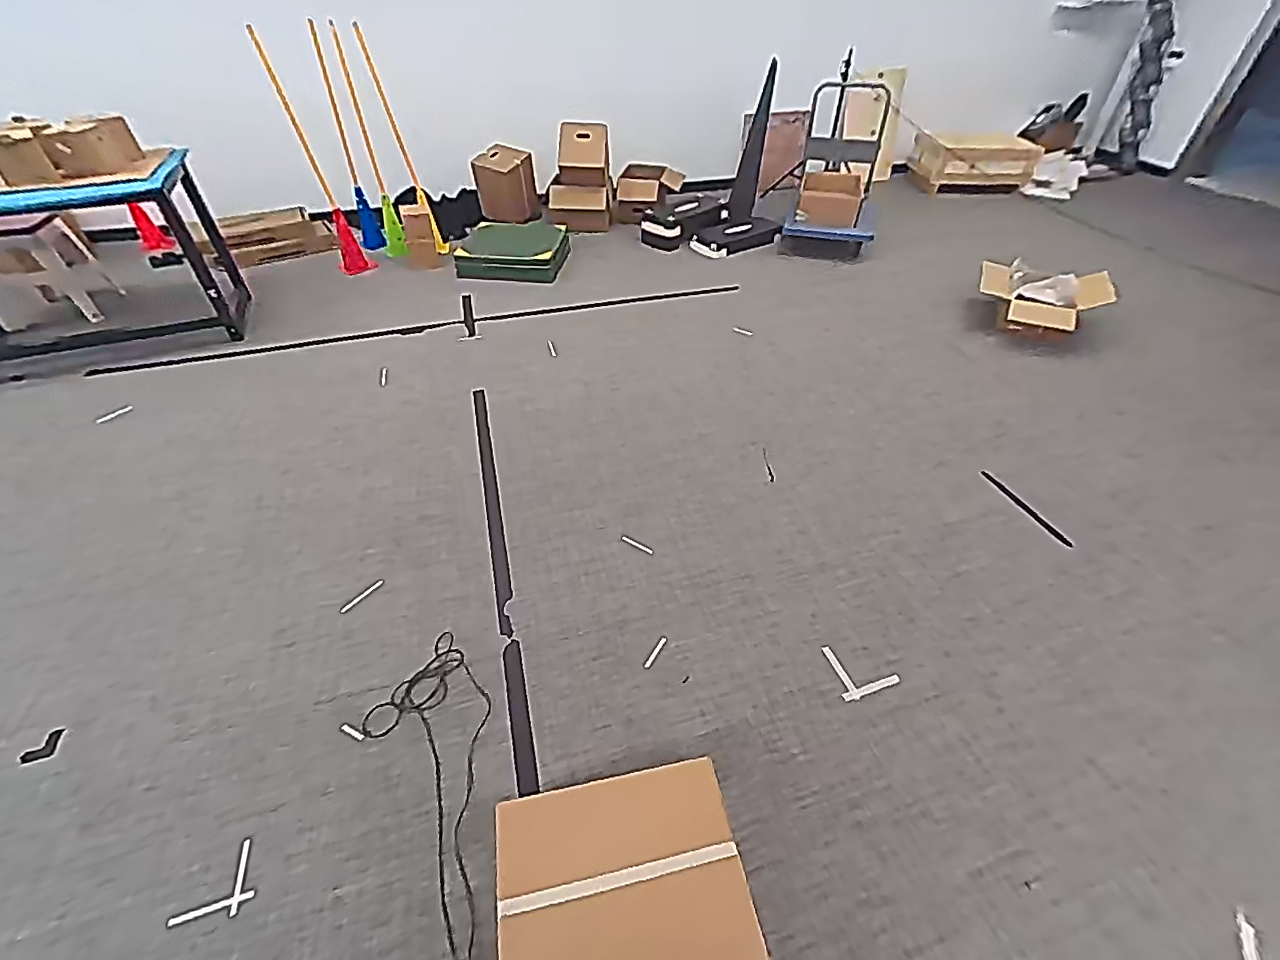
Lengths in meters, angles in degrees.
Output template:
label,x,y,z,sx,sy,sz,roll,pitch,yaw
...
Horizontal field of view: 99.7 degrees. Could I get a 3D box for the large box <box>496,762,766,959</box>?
label,x,y,z,sx,sy,sz,roll,pitch,yaw
large box,-0.031,0.777,0.996,0.408,0.320,0.320,-8,42,-9
